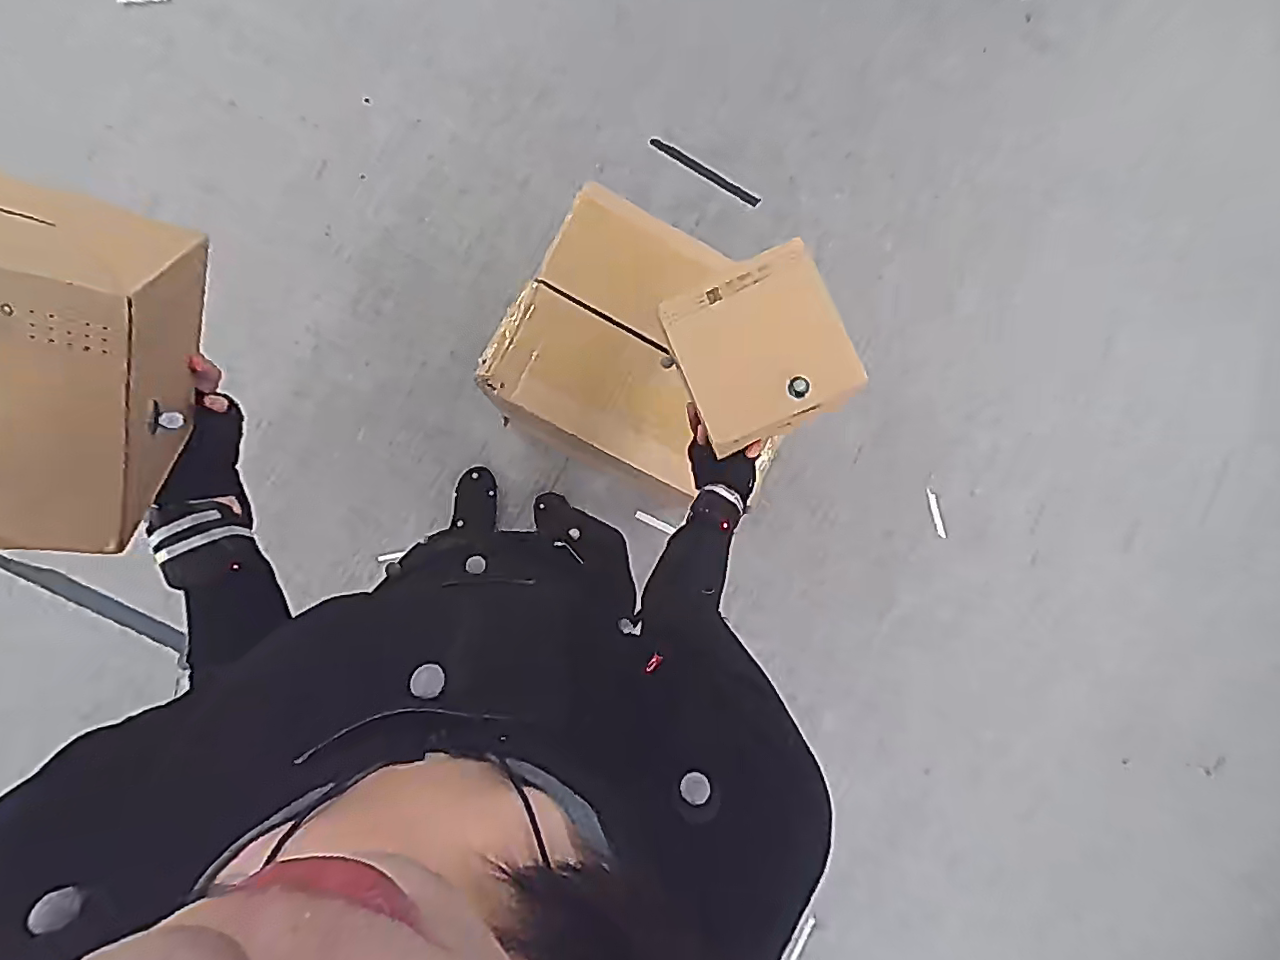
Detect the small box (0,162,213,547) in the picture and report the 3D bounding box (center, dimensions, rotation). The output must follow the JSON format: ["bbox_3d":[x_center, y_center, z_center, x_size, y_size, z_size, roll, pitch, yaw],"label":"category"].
[{"bbox_3d":[-0.379,-0.084,0.321,0.168,0.179,0.176,11,117,-30],"label":"small box"}]
